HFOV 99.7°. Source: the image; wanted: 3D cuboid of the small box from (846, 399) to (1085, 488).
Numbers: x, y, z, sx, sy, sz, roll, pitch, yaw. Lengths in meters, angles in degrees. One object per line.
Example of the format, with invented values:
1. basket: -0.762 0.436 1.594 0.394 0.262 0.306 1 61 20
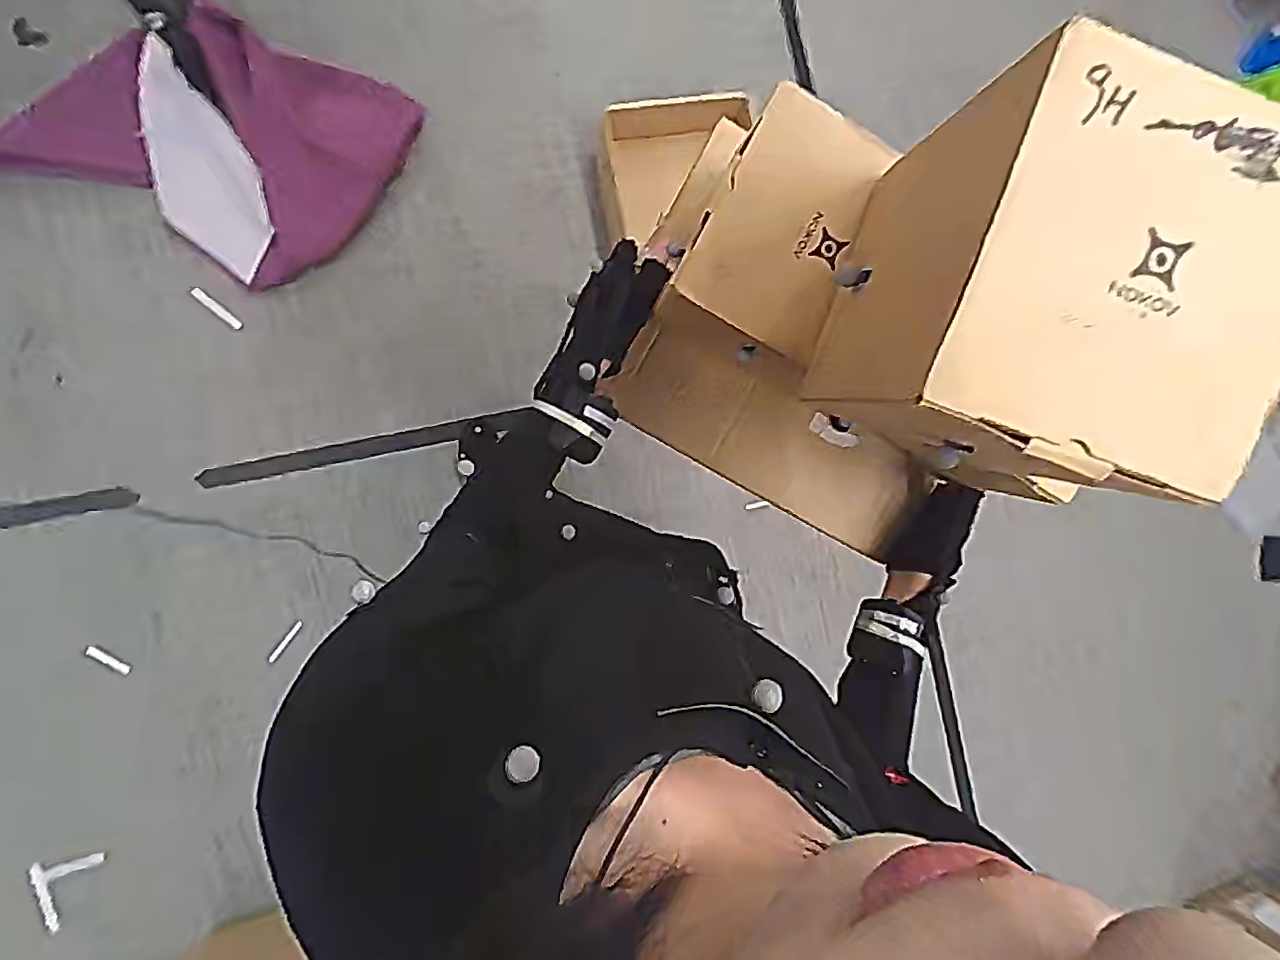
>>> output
1. small box: 0.309 -0.116 0.494 0.168 0.176 0.179 32 93 -7

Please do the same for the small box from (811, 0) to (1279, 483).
1. small box: 0.224 -0.115 0.325 0.168 0.176 0.179 17 97 -5

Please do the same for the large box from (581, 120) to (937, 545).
1. large box: 0.166 -0.164 0.726 0.408 0.320 0.320 27 96 -8
